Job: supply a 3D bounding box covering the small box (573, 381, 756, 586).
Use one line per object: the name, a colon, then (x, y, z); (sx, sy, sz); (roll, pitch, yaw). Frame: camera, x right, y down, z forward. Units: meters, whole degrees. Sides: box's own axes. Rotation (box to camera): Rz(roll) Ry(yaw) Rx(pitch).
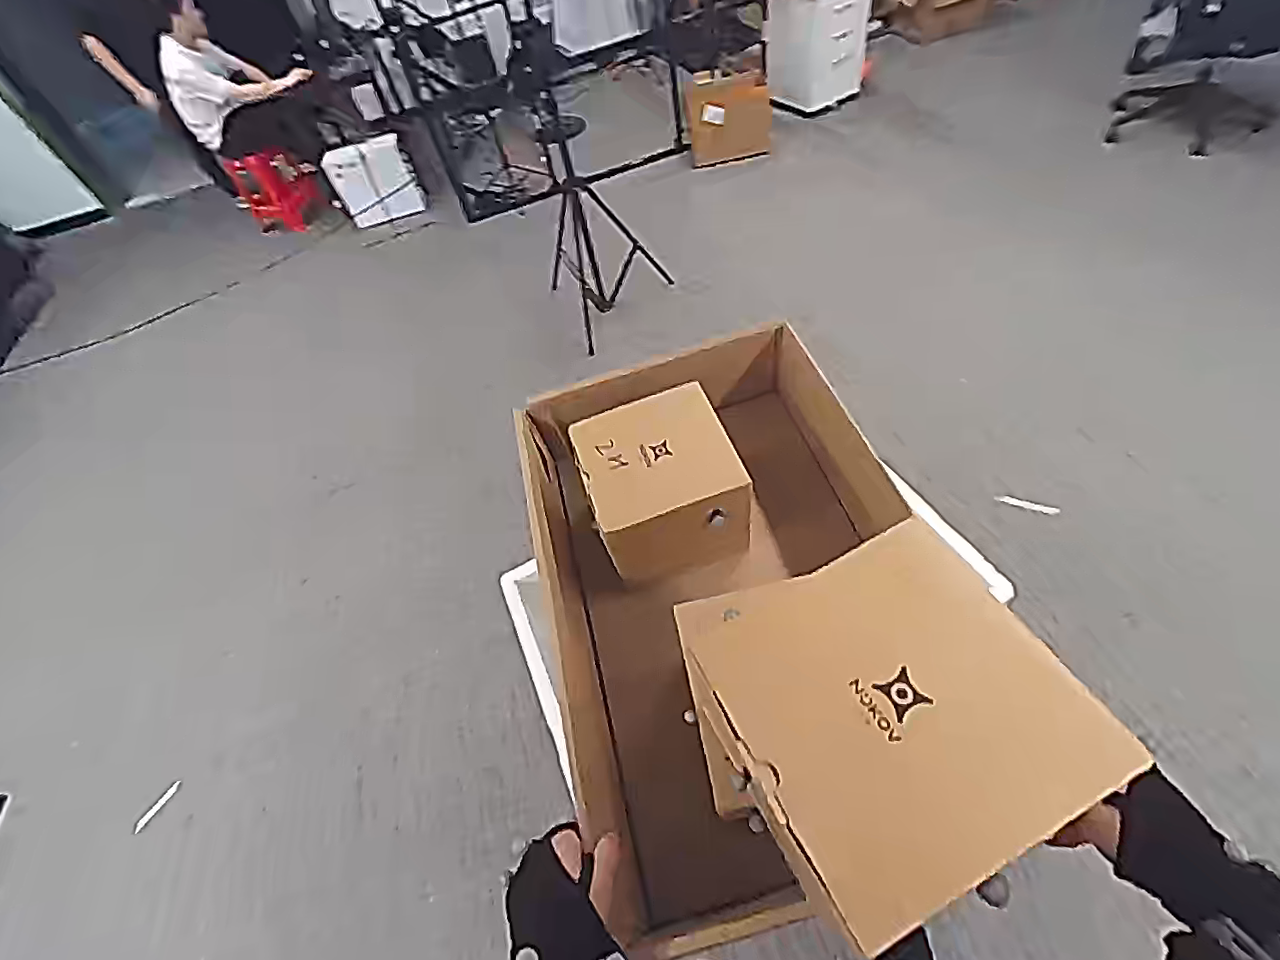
small box: (0.032, 0.010, 0.689); (0.179, 0.176, 0.168); (-20, 55, -3)
